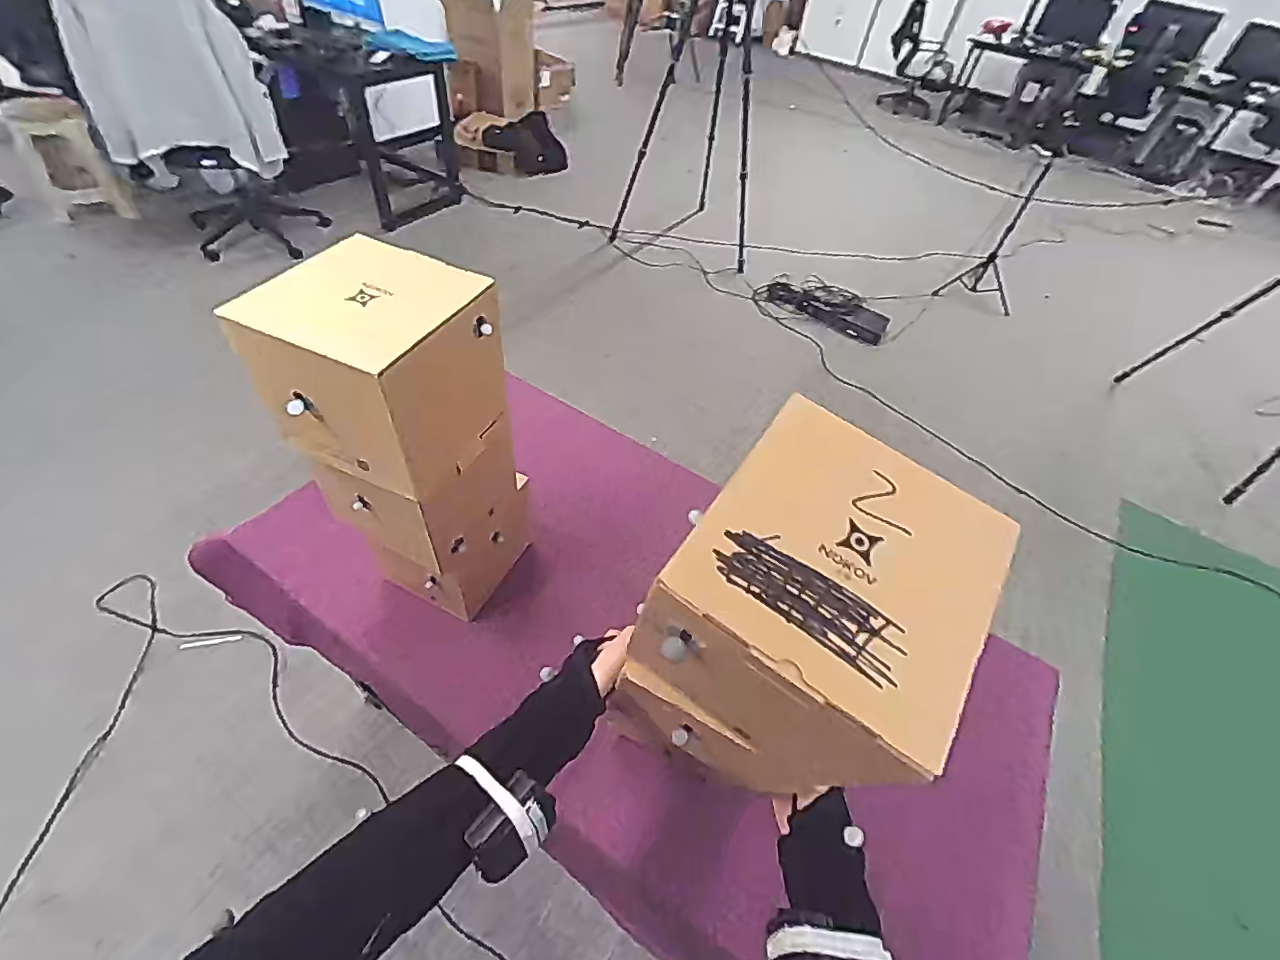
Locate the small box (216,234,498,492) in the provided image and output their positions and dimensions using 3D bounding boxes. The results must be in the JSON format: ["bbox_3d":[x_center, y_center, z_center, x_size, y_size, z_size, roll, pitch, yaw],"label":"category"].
[{"bbox_3d":[-0.260,-0.117,0.553,0.168,0.176,0.179,21,49,10],"label":"small box"}]

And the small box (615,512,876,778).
[{"bbox_3d":[0.088,0.166,0.523,0.179,0.176,0.168,28,61,9],"label":"small box"}]

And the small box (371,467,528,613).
[{"bbox_3d":[-0.281,0.070,0.822,0.168,0.176,0.179,24,49,12],"label":"small box"}]

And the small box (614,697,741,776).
[{"bbox_3d":[0.075,0.240,0.670,0.168,0.176,0.179,25,60,8],"label":"small box"}]

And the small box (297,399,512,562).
[{"bbox_3d":[-0.279,-0.022,0.684,0.179,0.176,0.168,24,50,13],"label":"small box"}]
